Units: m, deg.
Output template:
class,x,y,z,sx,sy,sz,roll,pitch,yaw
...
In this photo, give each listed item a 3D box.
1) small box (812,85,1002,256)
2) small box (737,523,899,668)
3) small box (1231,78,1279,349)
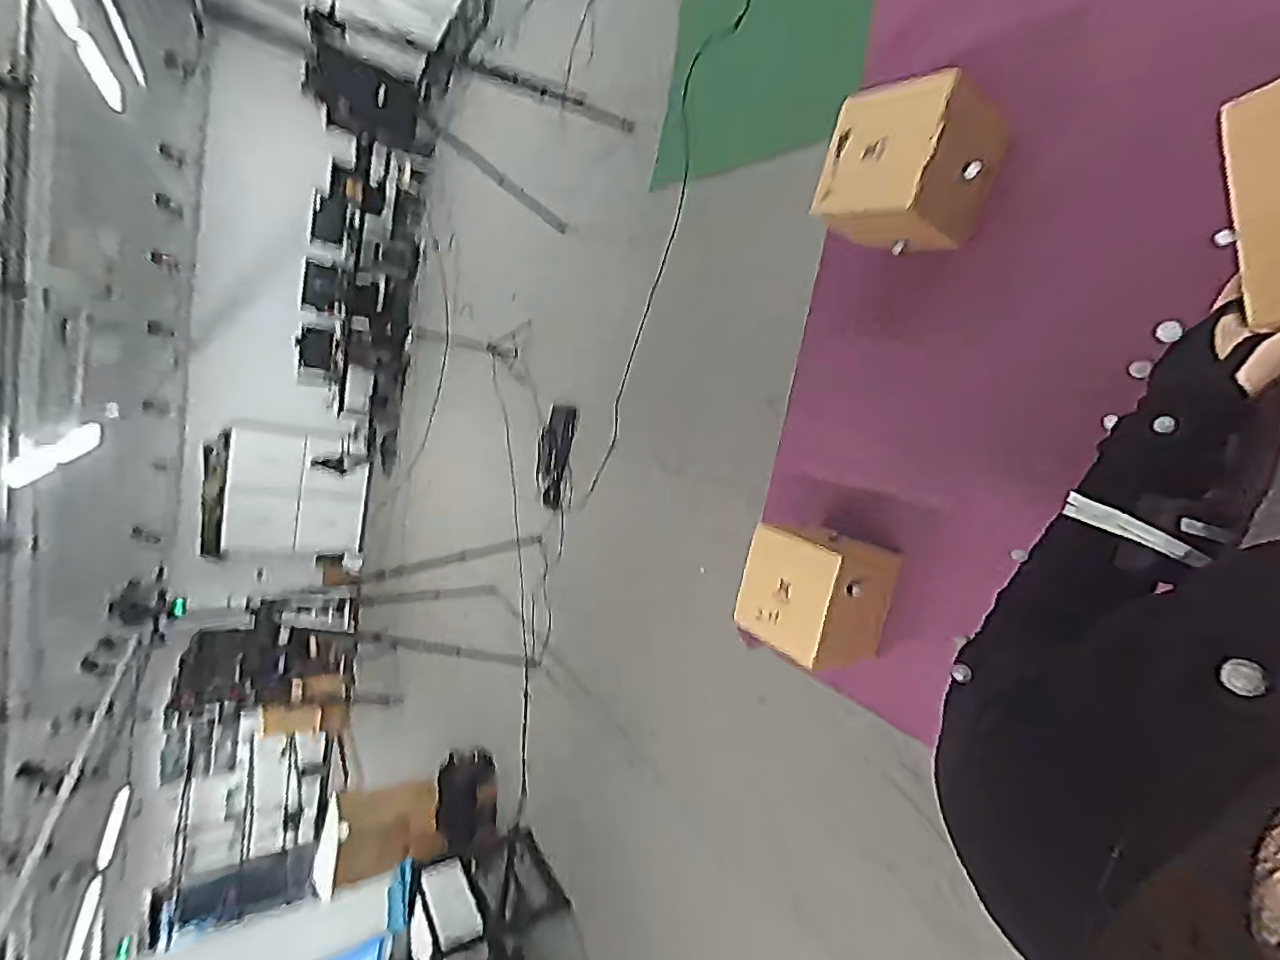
class,x,y,z,sx,sy,sz,roll,pitch,yaw
small box,0.403,-0.451,0.819,0.179,0.176,0.168,32,110,51
small box,0.291,0.180,0.883,0.168,0.176,0.179,23,104,54
small box,0.535,-0.189,0.361,0.168,0.176,0.179,-6,85,56
